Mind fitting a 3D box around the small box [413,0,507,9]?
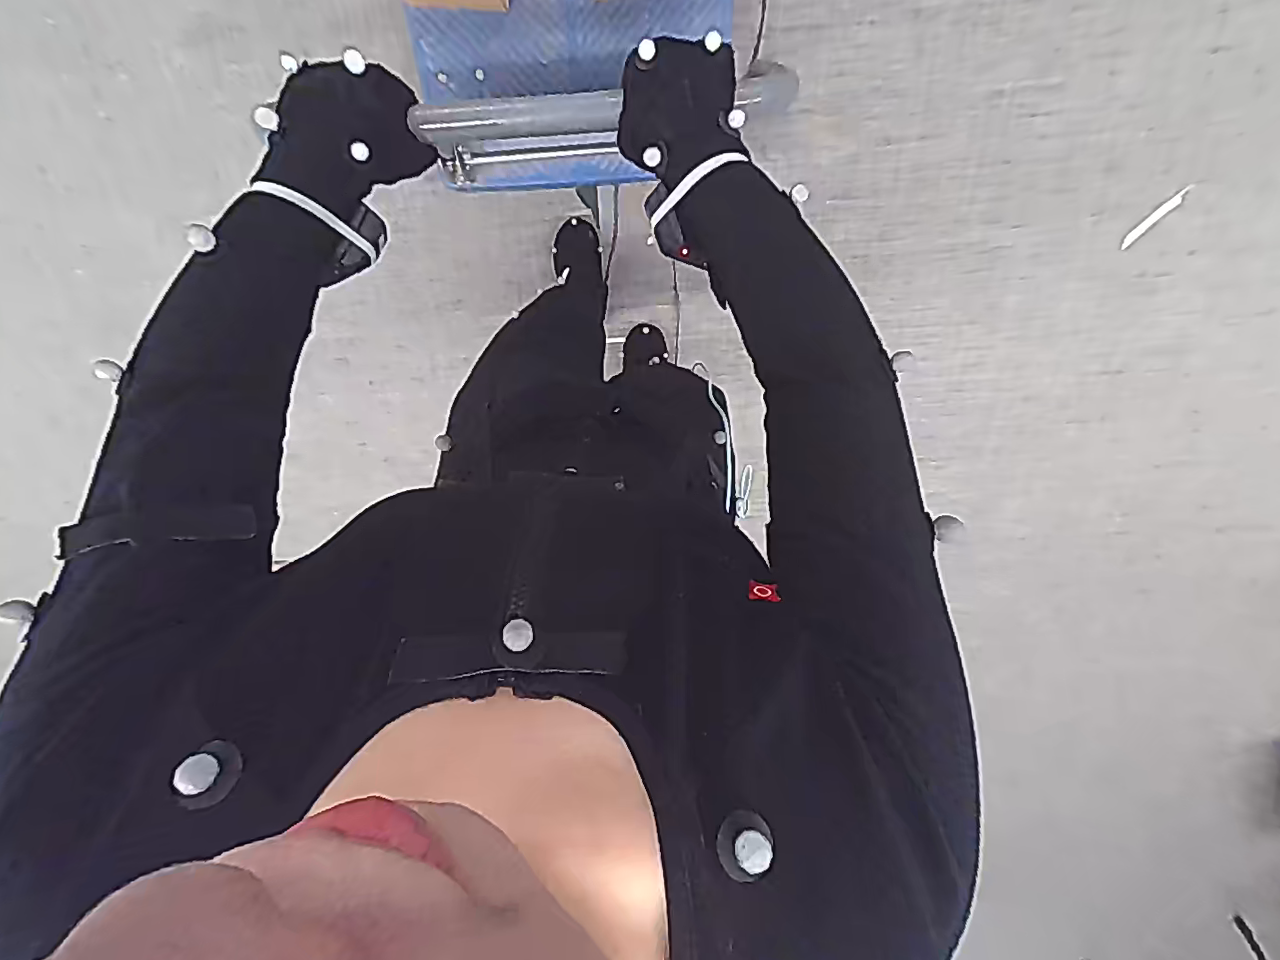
[{"bbox_3d":[-0.312,-0.871,0.846,0.179,0.176,0.168,1,116,-2],"label":"small box"}]
